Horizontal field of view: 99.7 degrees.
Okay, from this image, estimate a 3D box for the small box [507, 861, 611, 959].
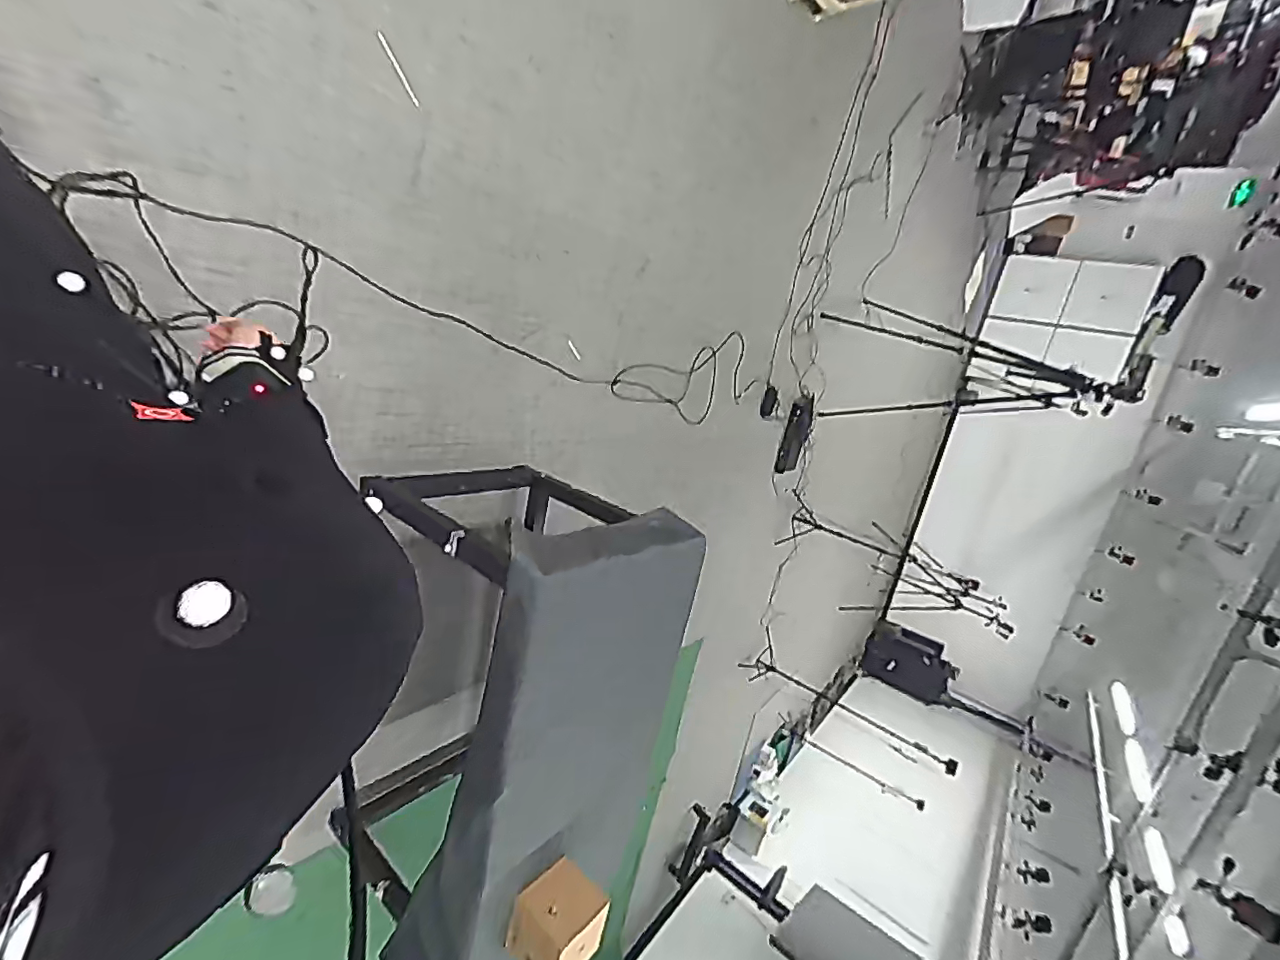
[{"bbox_3d":[-0.204,1.115,1.347,0.179,0.176,0.168,-5,113,-55],"label":"small box"}]
